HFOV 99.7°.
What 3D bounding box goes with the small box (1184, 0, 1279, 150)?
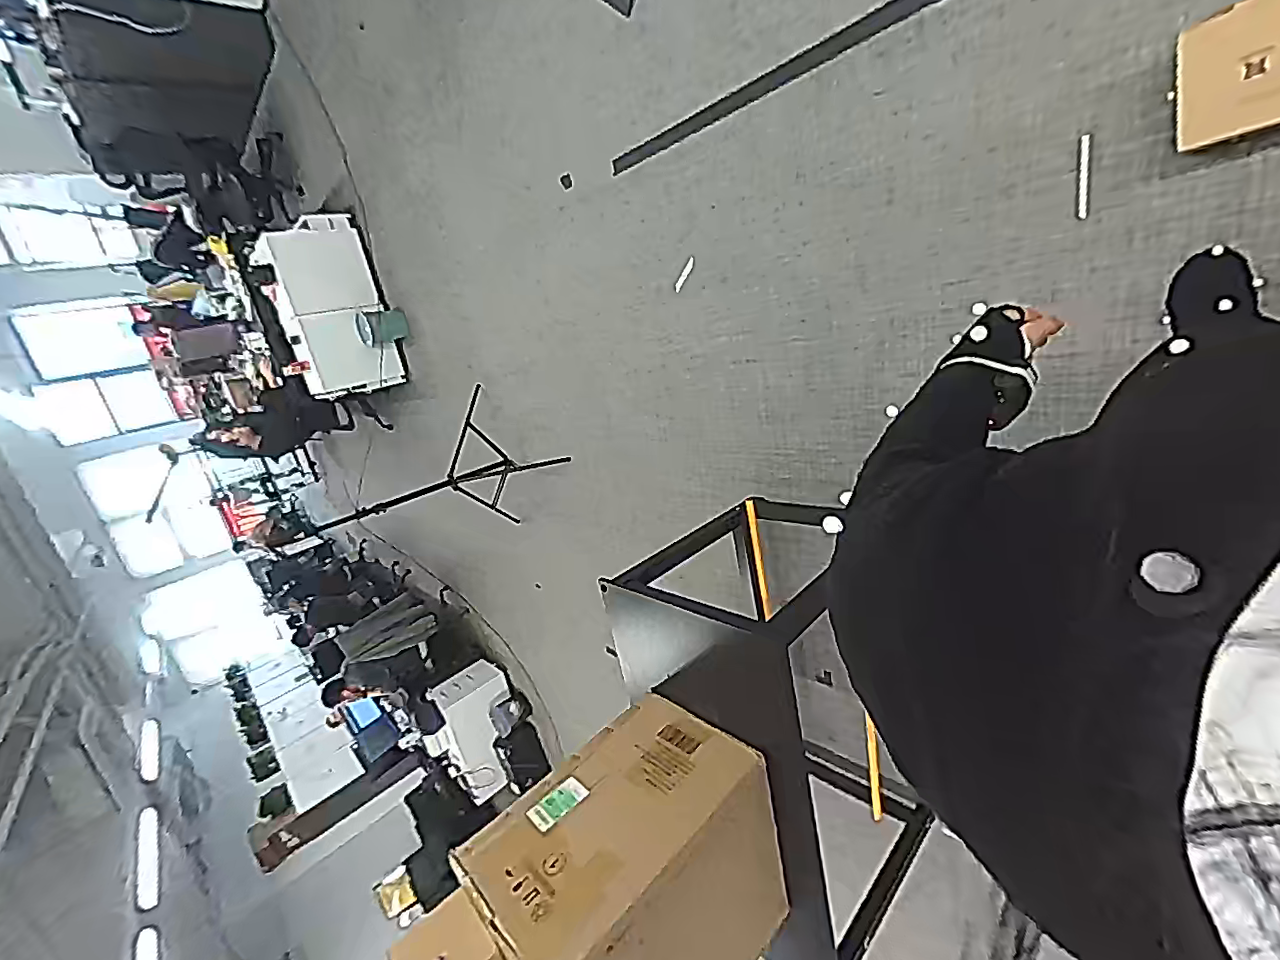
[{"bbox_3d":[0.963,-0.633,0.832,0.168,0.176,0.179,3,113,51],"label":"small box"}]
